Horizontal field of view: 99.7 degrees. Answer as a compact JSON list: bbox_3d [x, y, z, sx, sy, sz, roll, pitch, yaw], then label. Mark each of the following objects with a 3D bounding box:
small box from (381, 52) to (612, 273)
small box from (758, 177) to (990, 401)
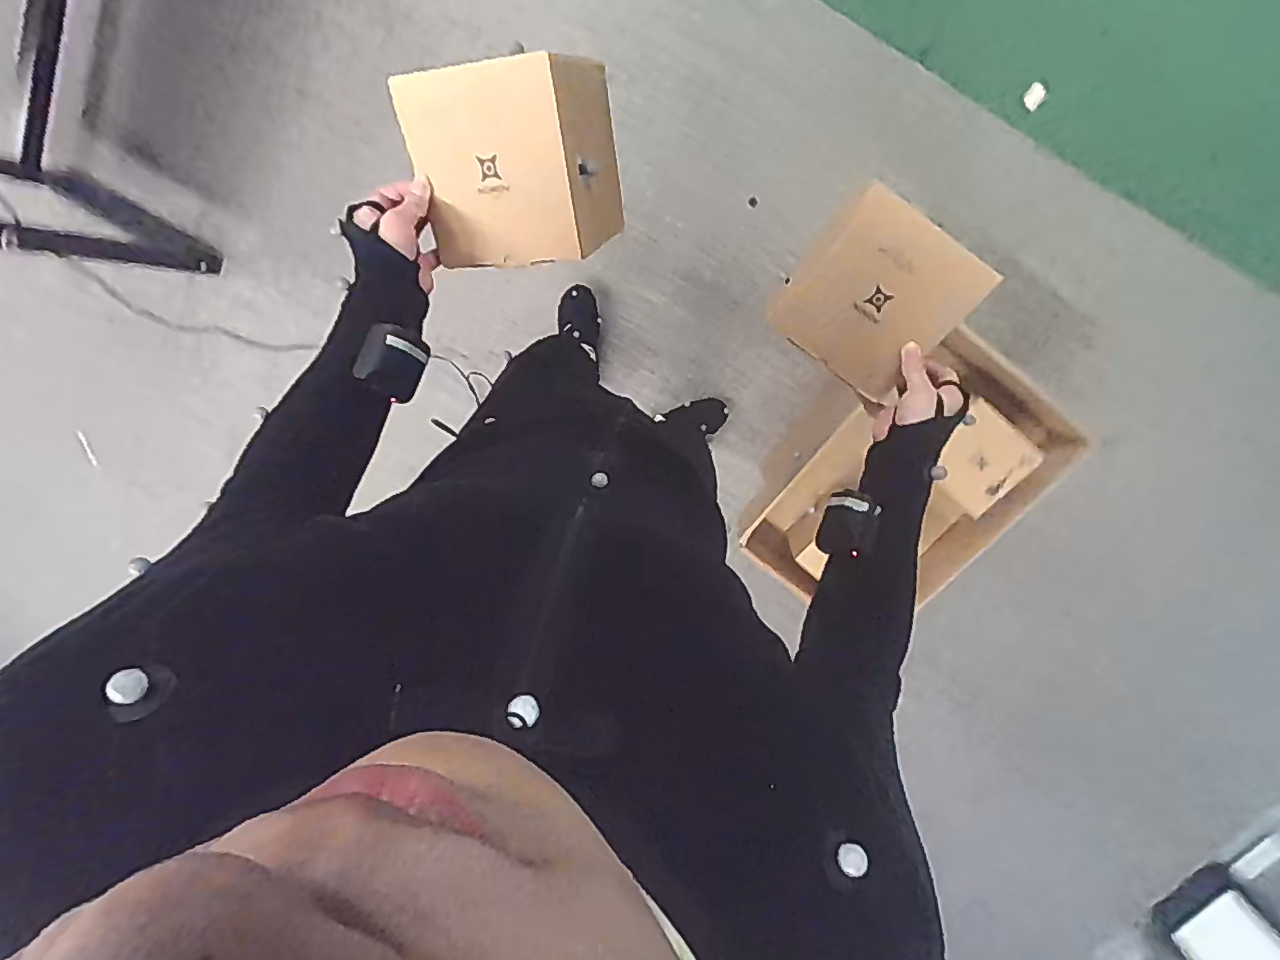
[{"bbox_3d":[-0.139,-0.346,0.599,0.168,0.176,0.179,1,125,15],"label":"small box"},{"bbox_3d":[0.266,-0.231,0.650,0.168,0.176,0.179,35,121,-4],"label":"small box"}]
